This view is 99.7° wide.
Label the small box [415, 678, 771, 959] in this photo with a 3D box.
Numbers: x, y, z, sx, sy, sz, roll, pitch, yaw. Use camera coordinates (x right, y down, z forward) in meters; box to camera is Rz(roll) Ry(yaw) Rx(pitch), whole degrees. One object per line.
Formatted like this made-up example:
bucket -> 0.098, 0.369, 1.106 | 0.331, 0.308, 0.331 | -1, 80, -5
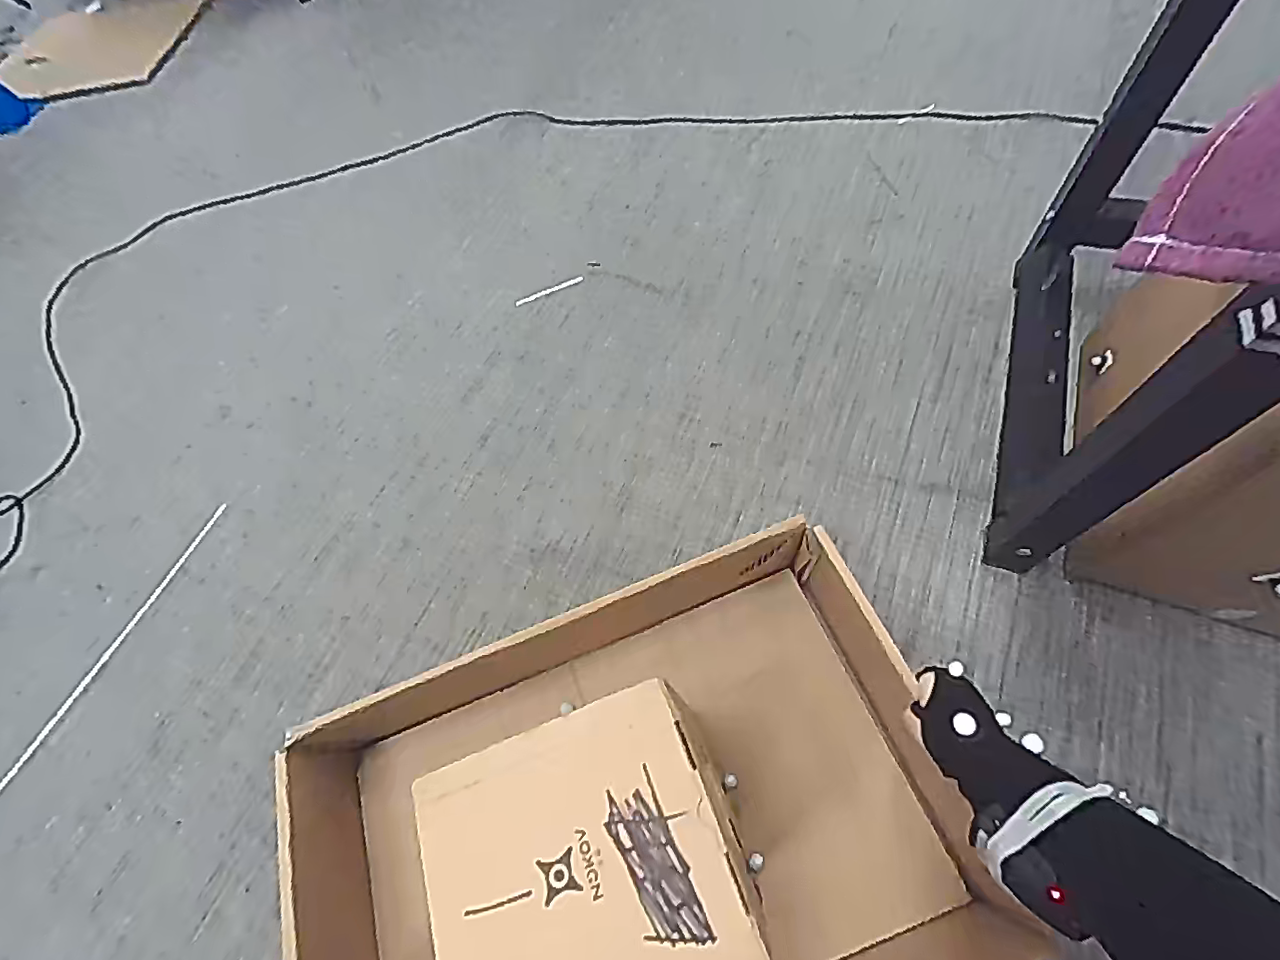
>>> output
small box -> -0.026, 0.259, 0.384 | 0.179, 0.176, 0.168 | -23, 62, -1
